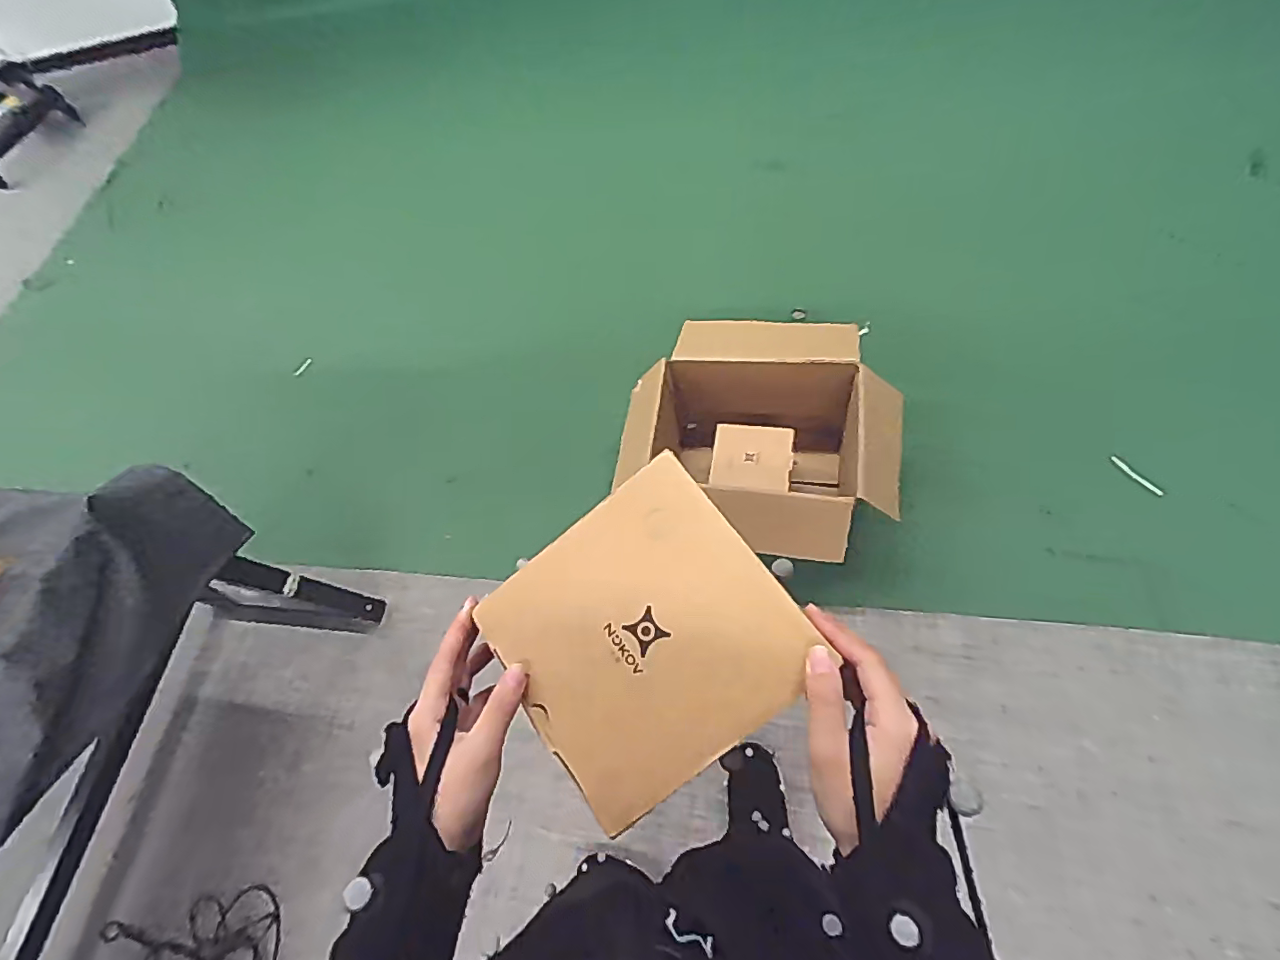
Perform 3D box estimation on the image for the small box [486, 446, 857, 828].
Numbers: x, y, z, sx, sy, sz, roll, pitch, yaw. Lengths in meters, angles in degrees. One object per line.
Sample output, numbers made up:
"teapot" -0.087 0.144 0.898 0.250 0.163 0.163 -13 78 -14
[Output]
"small box" 0.027 0.103 0.408 0.179 0.176 0.168 -39 74 5
